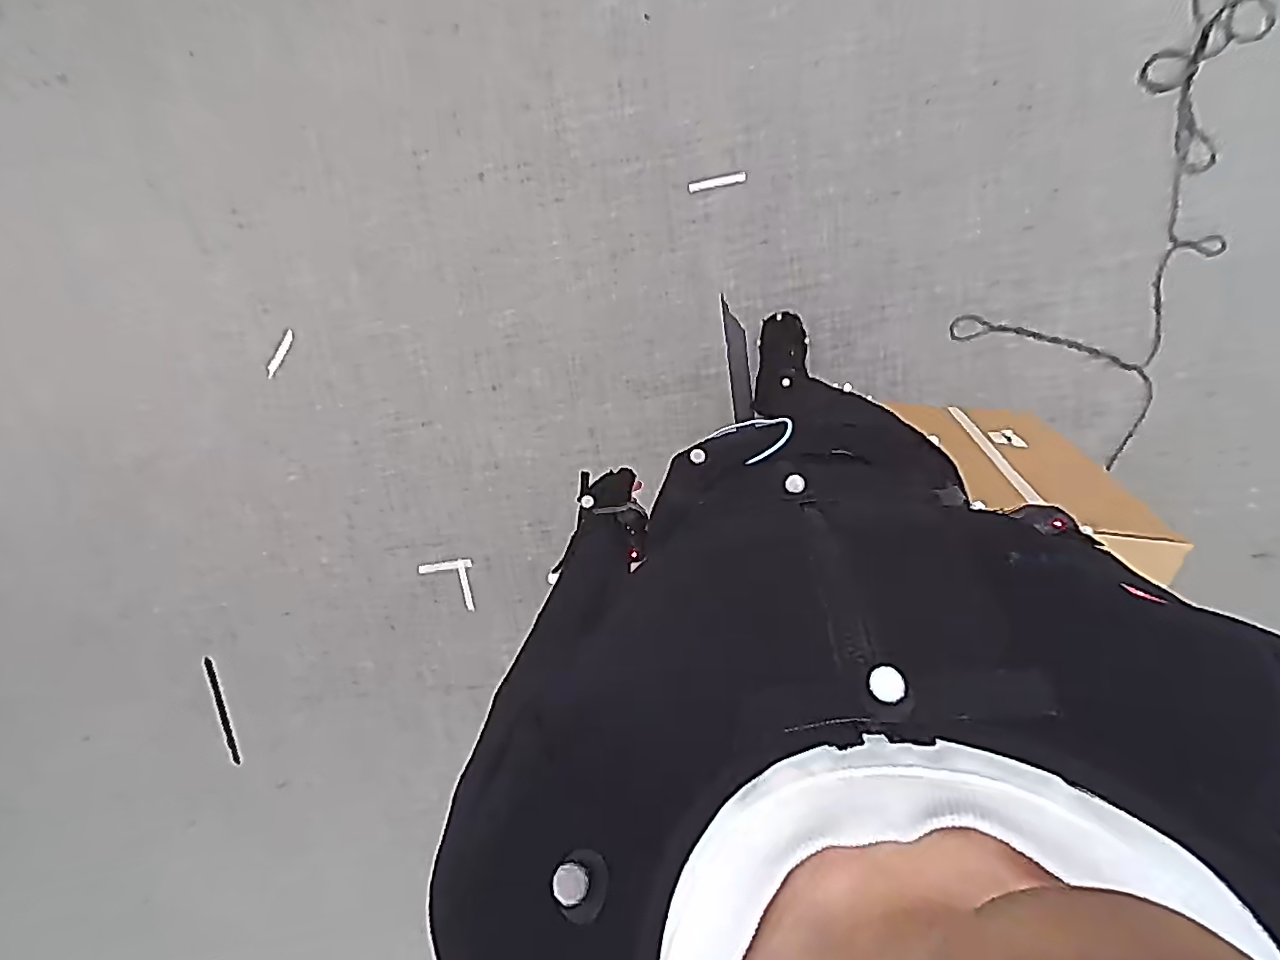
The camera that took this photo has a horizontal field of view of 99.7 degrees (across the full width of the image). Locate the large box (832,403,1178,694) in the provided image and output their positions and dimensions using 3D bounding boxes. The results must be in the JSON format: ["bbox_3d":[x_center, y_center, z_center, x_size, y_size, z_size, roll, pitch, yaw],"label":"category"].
[{"bbox_3d":[0.540,0.090,0.922,0.320,0.408,0.320,6,119,7],"label":"large box"}]
